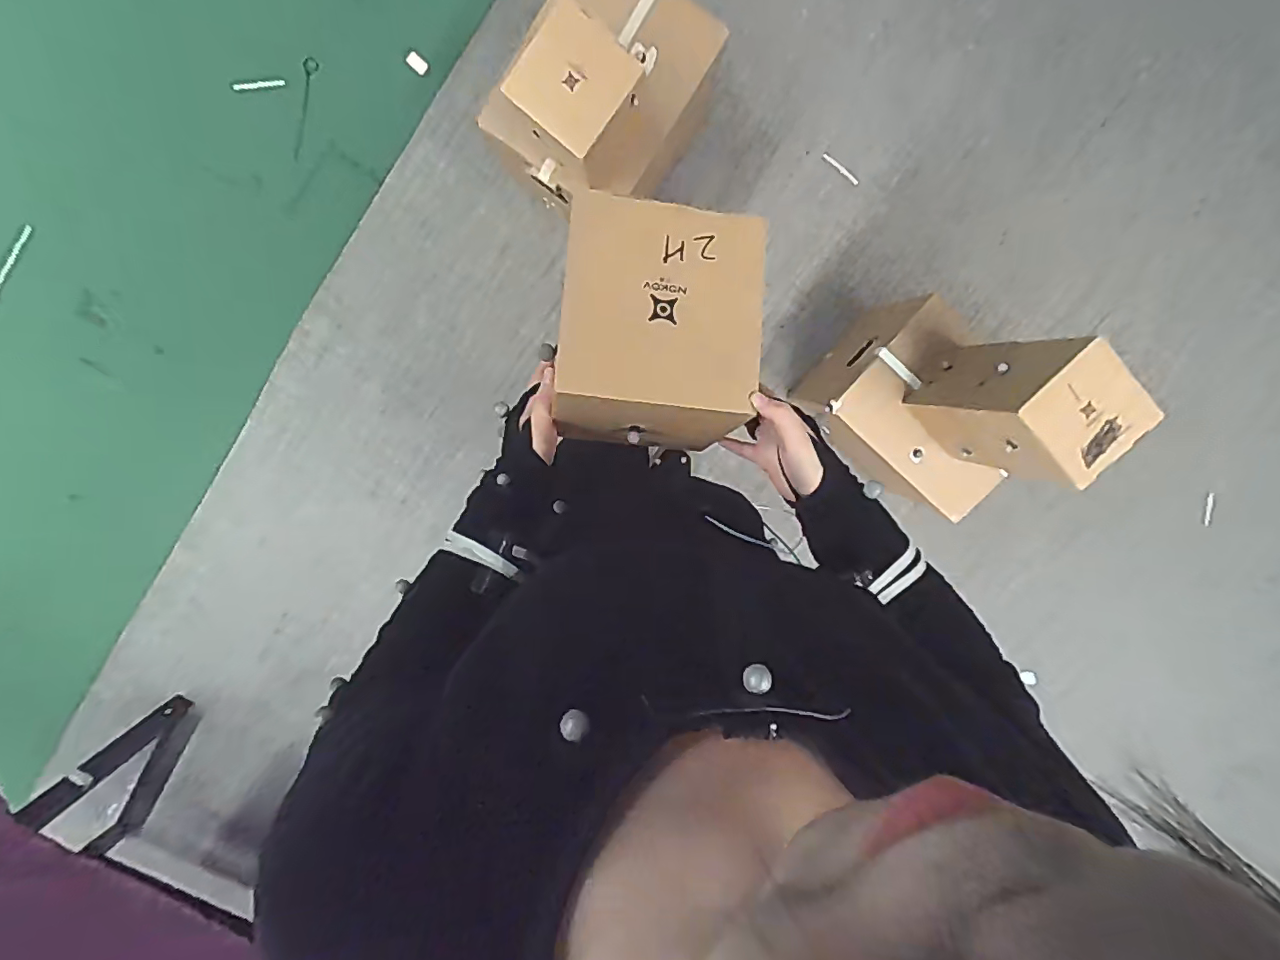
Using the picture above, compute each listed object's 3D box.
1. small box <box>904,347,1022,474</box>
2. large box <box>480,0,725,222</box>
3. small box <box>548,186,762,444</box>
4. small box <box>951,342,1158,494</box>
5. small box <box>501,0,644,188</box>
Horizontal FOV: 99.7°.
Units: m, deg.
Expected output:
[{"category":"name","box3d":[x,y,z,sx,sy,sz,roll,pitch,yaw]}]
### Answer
[{"category":"small box","box3d":[0.667,-0.140,1.061,0.179,0.176,0.168,44,95,-9]},{"category":"large box","box3d":[-0.075,-0.775,1.165,0.320,0.320,0.408,34,98,-7]},{"category":"small box","box3d":[0.005,-0.137,0.519,0.168,0.176,0.179,6,82,-9]},{"category":"small box","box3d":[0.674,-0.107,0.900,0.168,0.176,0.179,-44,98,5]},{"category":"small box","box3d":[-0.109,-0.649,0.939,0.168,0.176,0.179,37,97,-9]}]
